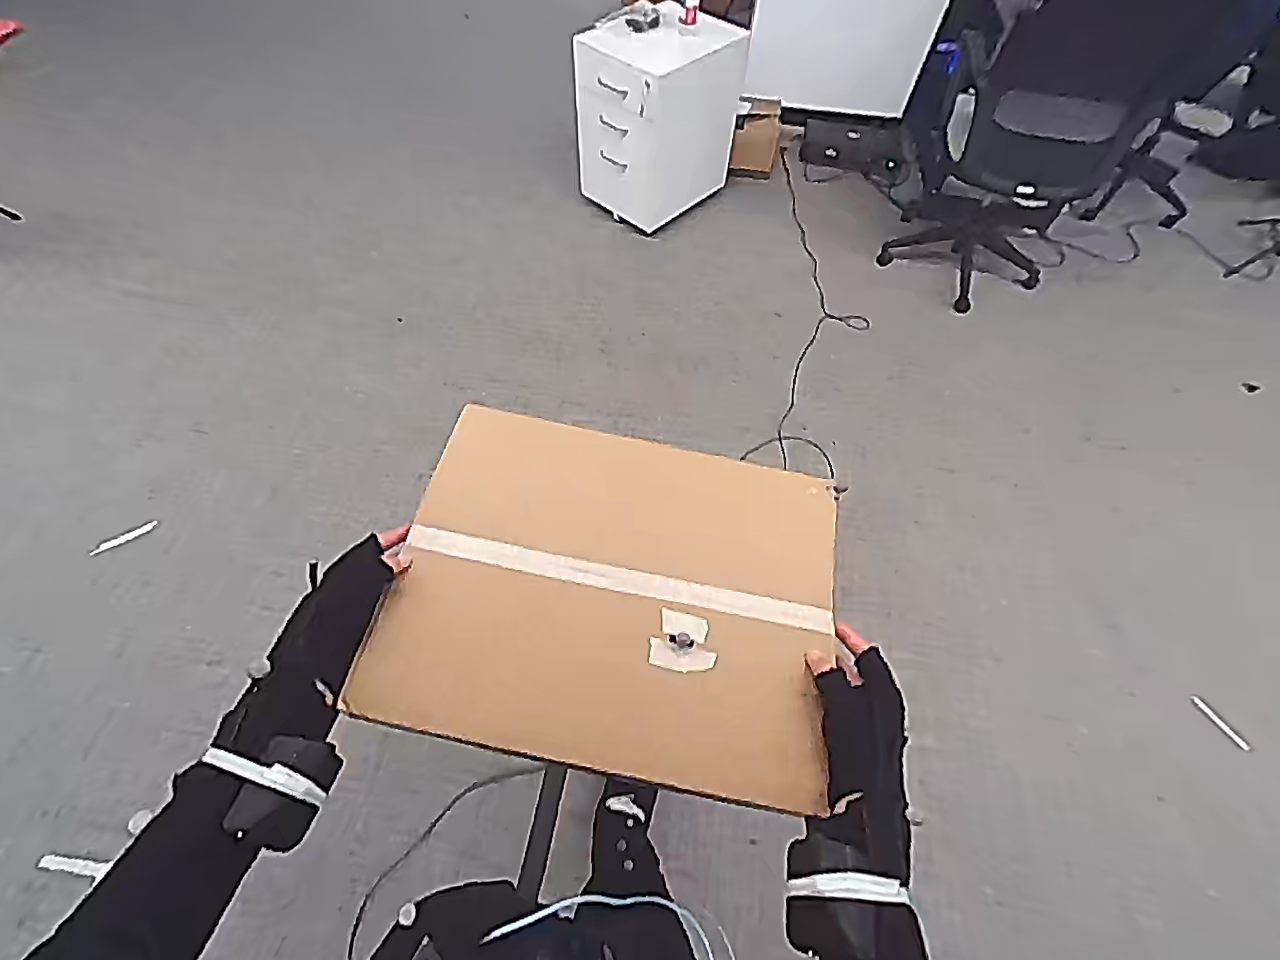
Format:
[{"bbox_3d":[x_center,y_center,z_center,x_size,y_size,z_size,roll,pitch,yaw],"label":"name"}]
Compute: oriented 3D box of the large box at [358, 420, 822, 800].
[{"bbox_3d":[-0.035,0.171,0.654,0.408,0.320,0.320,12,61,0],"label":"large box"}]
